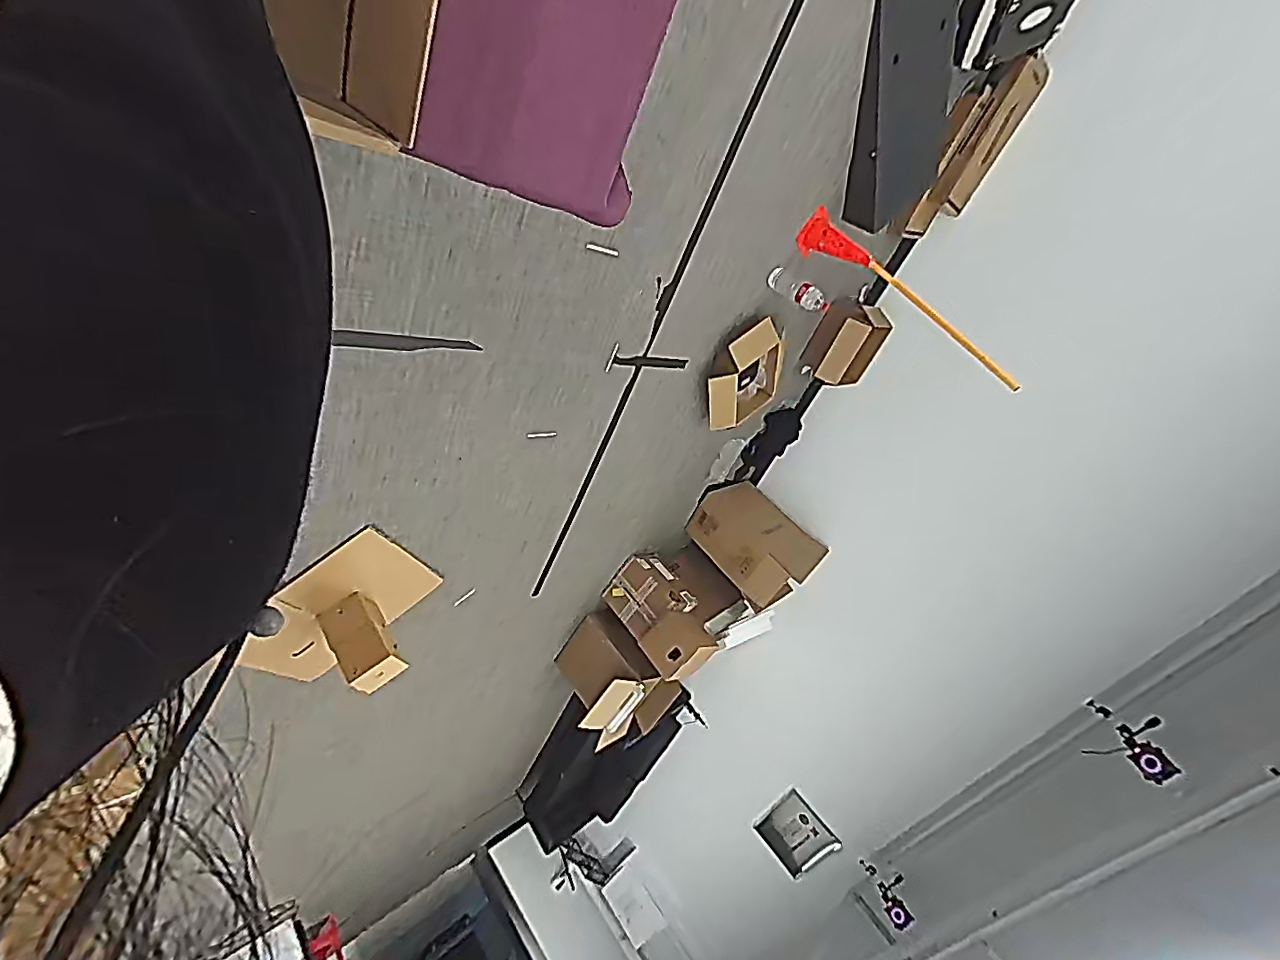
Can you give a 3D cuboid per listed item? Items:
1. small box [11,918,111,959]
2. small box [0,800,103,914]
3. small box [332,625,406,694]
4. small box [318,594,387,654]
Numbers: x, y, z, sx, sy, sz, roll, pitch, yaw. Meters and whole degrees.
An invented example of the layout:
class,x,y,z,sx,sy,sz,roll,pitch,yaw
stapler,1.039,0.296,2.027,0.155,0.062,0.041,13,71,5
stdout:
class,x,y,z,sx,sy,sz,roll,pitch,yaw
small box,-1.402,1.222,1.313,0.168,0.176,0.179,-12,138,-47
small box,-1.603,1.014,1.471,0.168,0.176,0.179,-13,139,-45
small box,-1.052,0.692,2.093,0.179,0.176,0.168,-34,151,-16
small box,-1.156,0.591,2.167,0.179,0.176,0.168,-34,151,-15
